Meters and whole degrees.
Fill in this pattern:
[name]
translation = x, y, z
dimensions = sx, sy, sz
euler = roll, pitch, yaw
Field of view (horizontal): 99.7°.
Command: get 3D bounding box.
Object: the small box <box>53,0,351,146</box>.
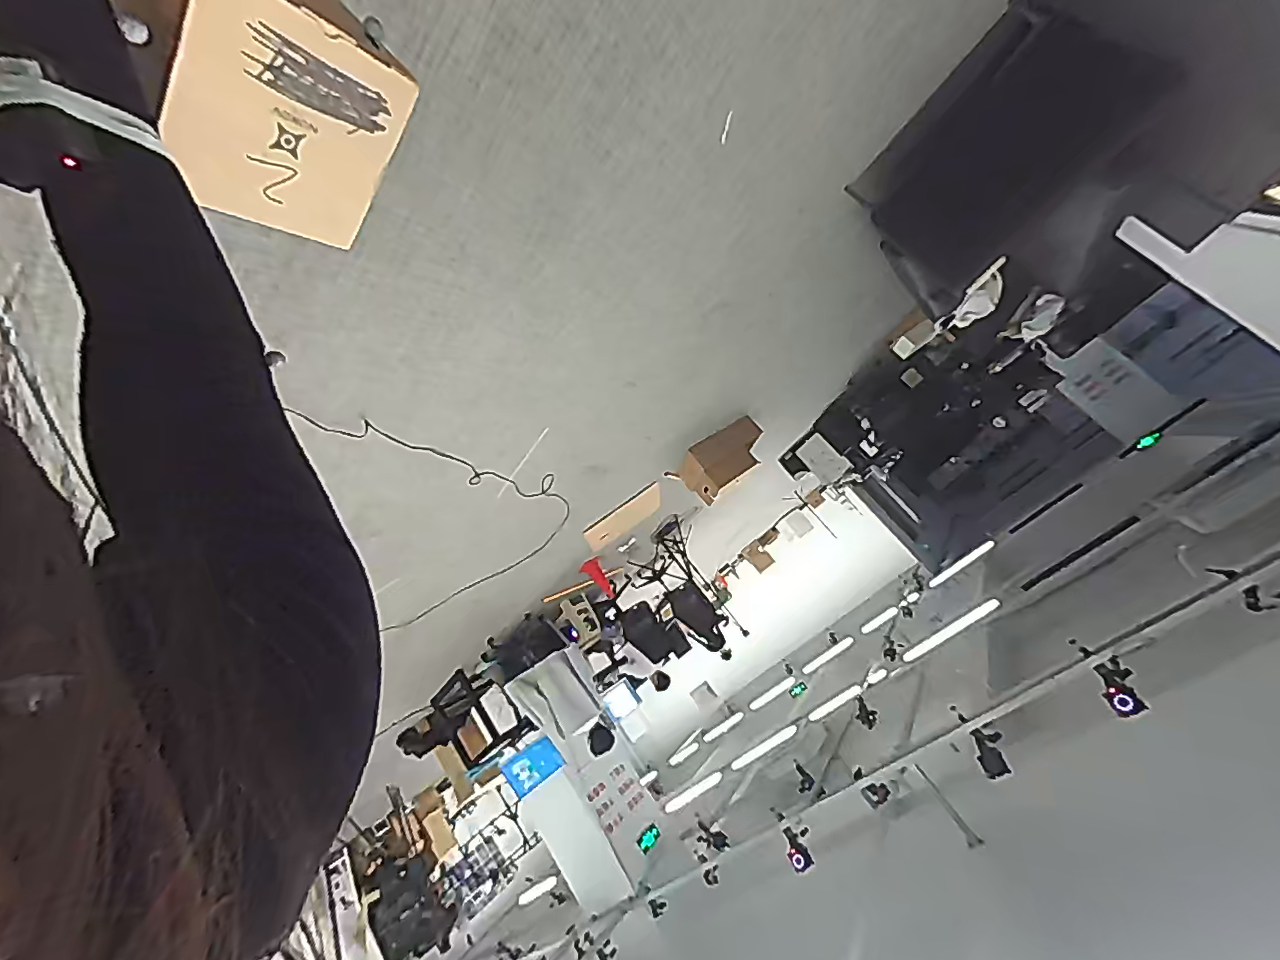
[small box]
translation = -0.426, -0.477, 0.519
dimensions = 0.168, 0.176, 0.179
euler = -49, 160, 26
